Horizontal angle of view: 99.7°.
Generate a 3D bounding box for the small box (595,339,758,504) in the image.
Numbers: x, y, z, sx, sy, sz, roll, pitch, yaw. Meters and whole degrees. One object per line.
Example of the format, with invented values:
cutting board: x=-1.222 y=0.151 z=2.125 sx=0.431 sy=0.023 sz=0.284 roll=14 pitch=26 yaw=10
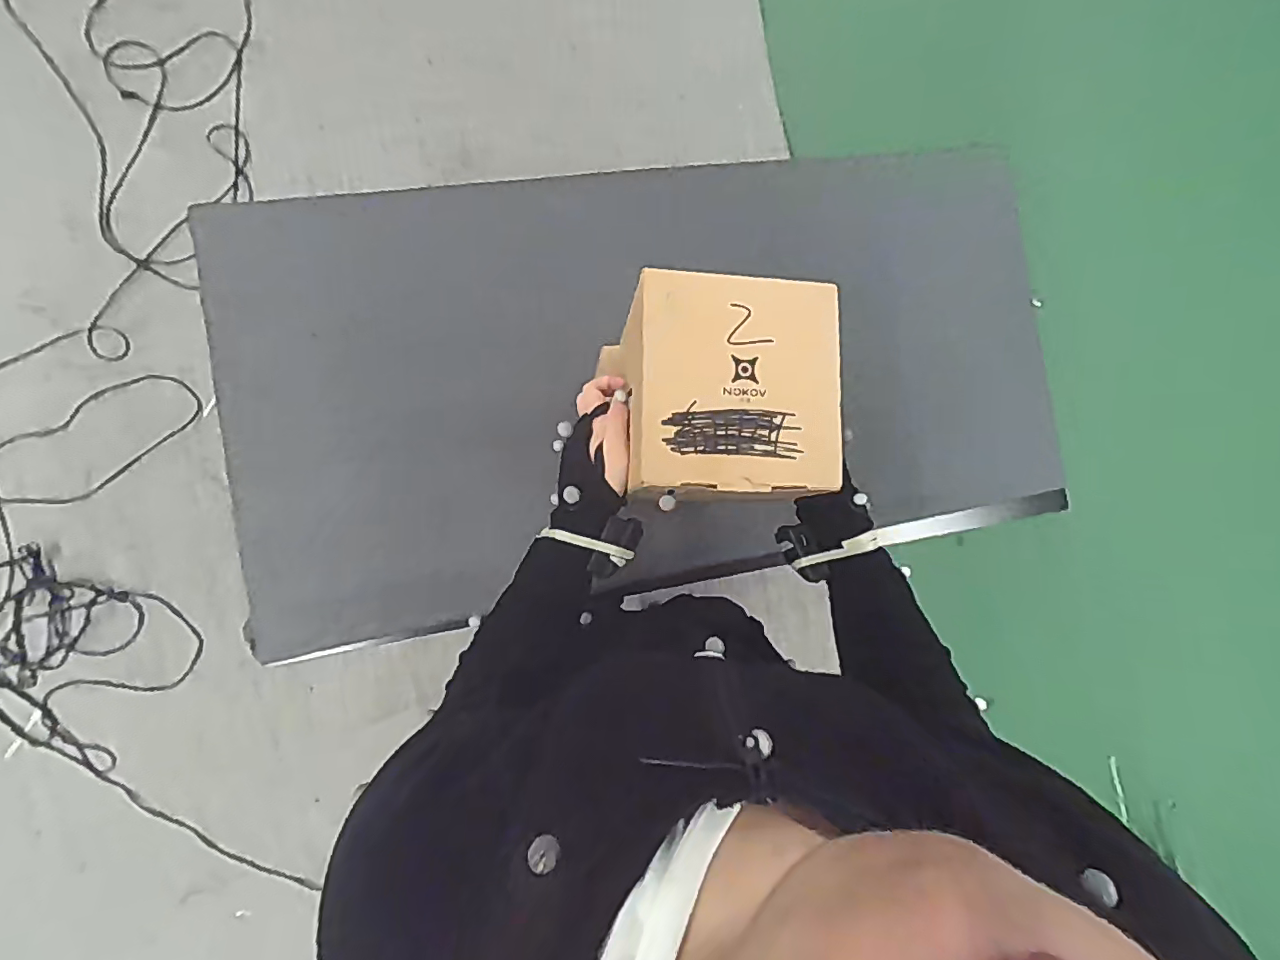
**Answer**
small box: x=0.034 y=-0.064 z=0.679 sx=0.168 sy=0.176 sz=0.179 roll=-5 pitch=87 yaw=-8
